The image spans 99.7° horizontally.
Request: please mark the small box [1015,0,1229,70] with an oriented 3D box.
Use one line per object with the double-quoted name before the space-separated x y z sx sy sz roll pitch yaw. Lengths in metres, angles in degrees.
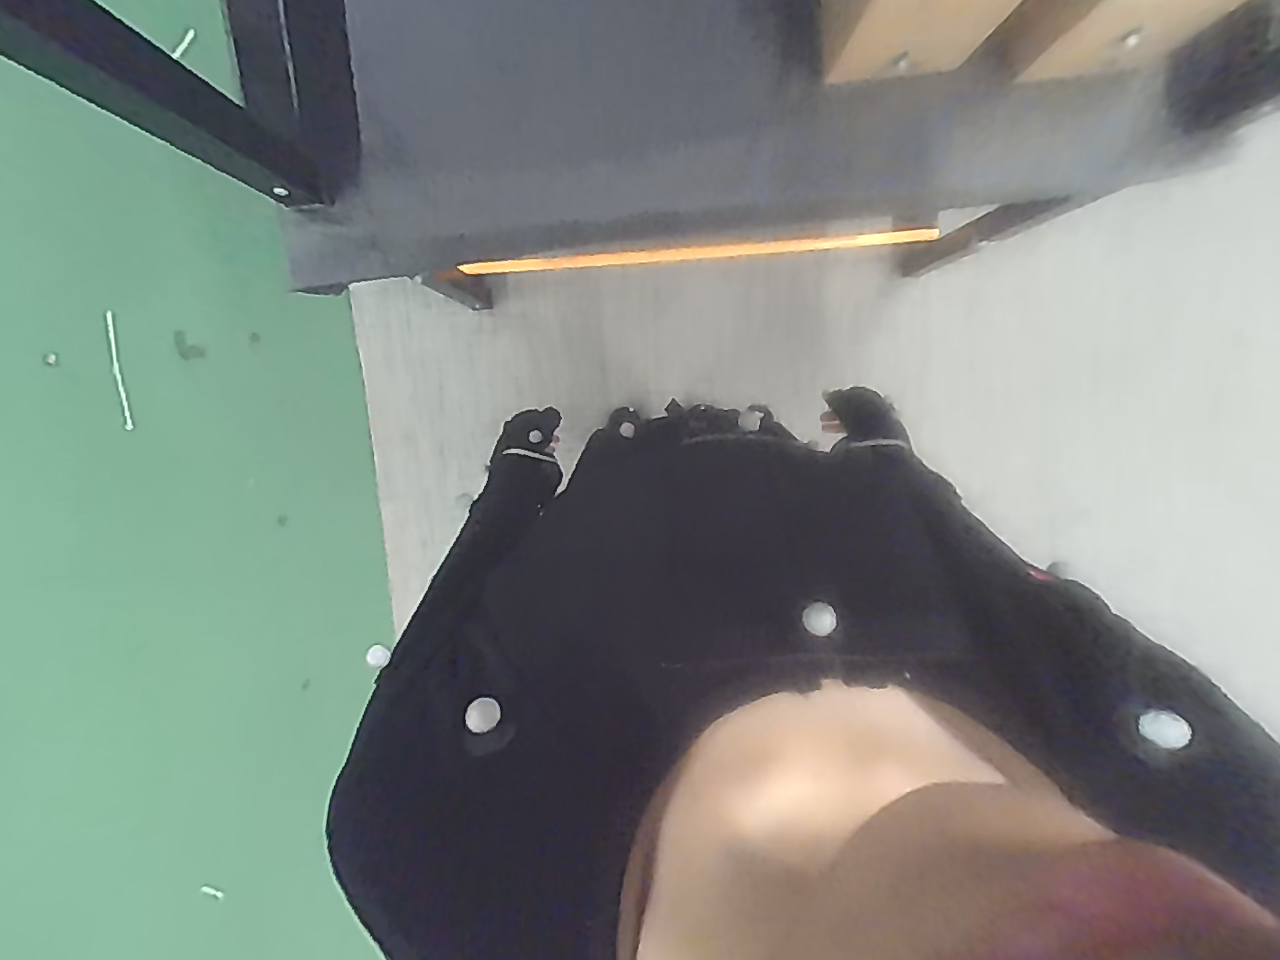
"small box" 0.533 -0.574 0.573 0.168 0.176 0.179 -6 98 1
